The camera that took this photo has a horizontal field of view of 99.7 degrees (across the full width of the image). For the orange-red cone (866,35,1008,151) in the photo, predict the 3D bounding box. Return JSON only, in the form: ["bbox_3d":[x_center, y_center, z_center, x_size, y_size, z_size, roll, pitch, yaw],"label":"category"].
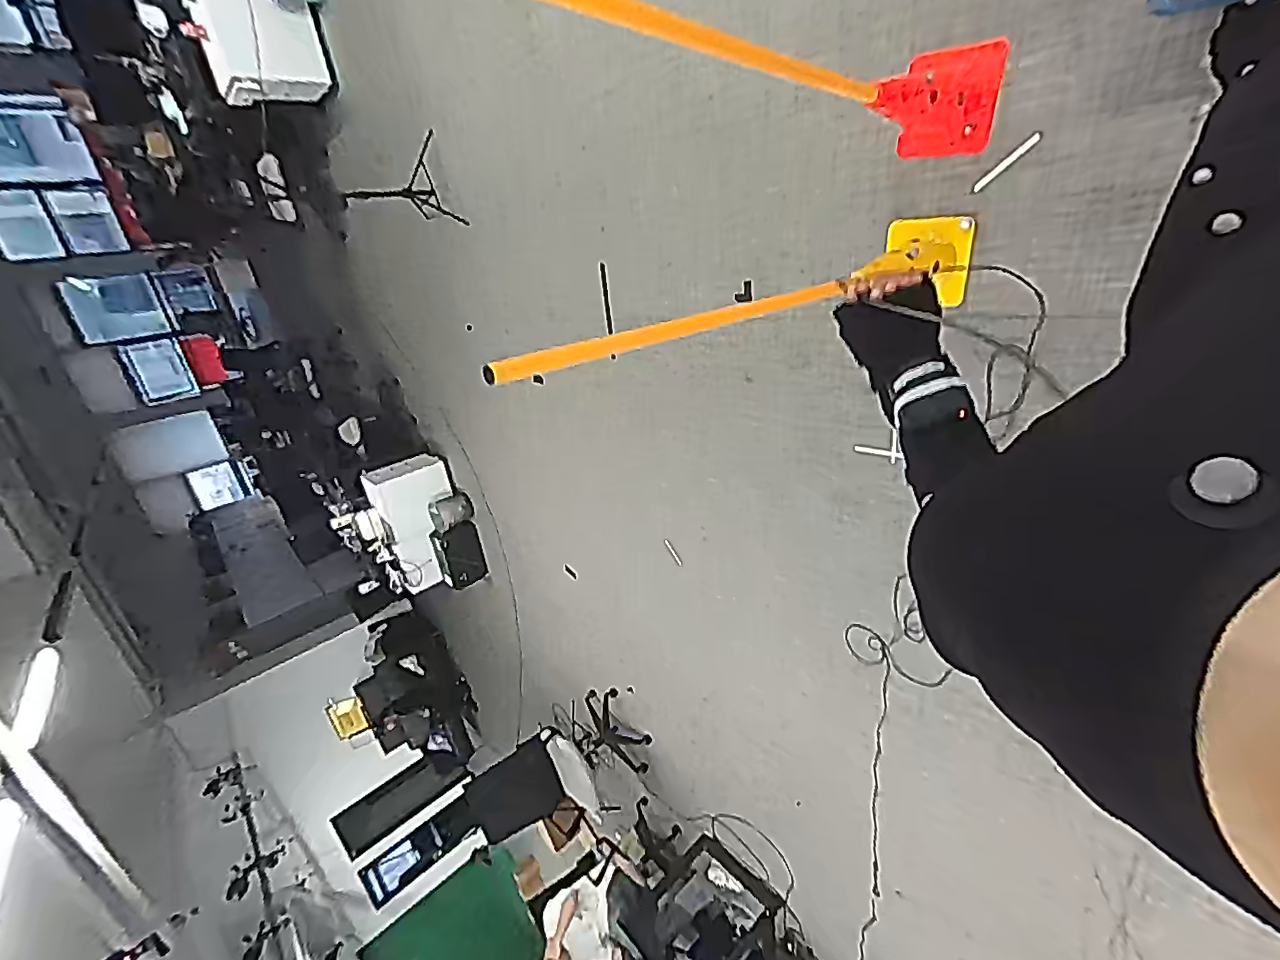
[{"bbox_3d":[0.553,-0.781,1.085,0.198,0.360,0.199,26,129,40],"label":"orange-red cone"}]
